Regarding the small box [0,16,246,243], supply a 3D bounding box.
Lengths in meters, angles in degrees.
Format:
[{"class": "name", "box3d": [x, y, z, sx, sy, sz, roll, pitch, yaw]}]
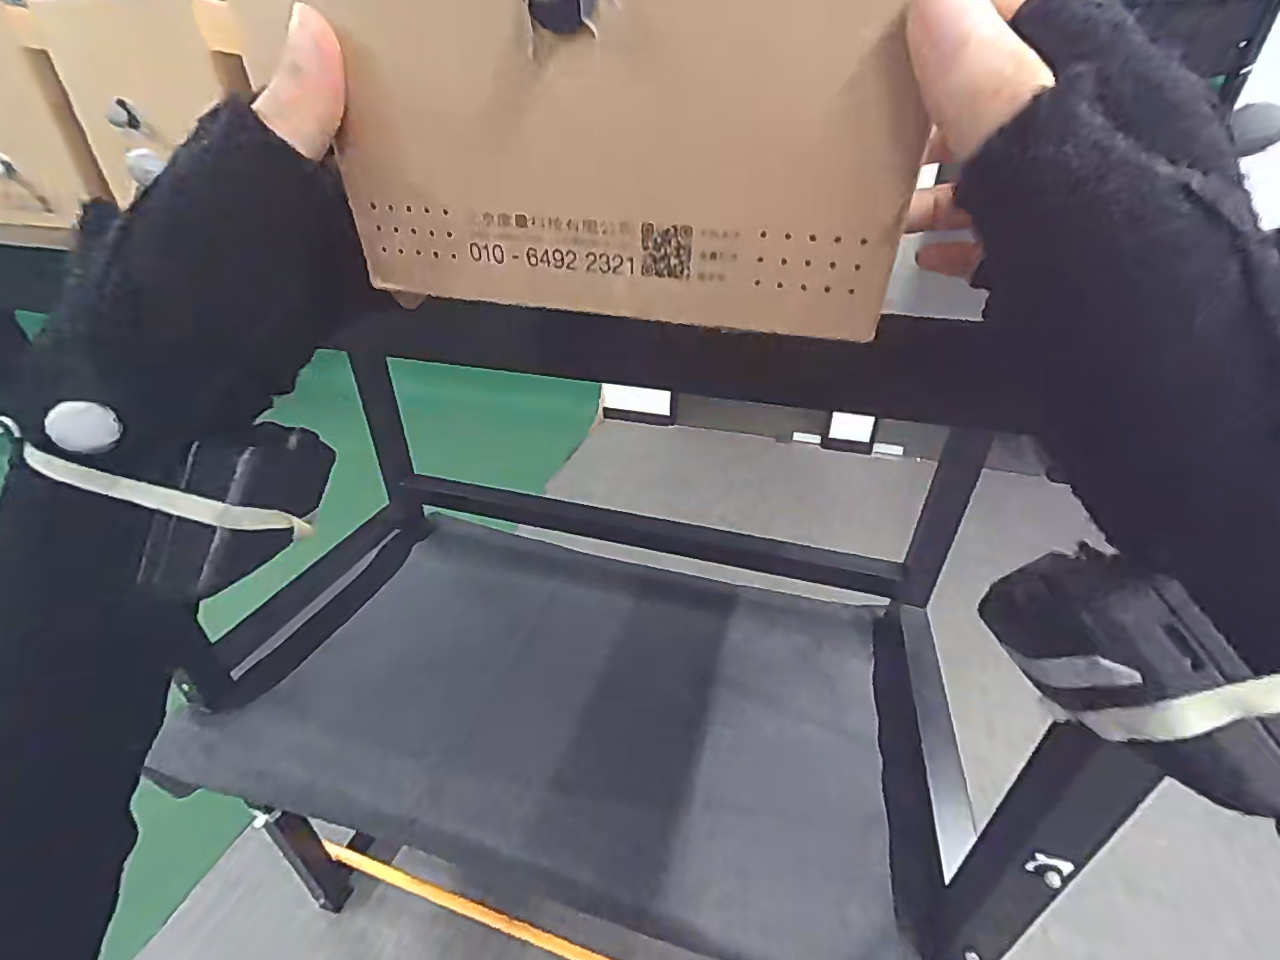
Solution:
[{"class": "small box", "box3d": [-0.553, -0.352, 0.557, 0.168, 0.176, 0.179, 9, 34, 14]}]
